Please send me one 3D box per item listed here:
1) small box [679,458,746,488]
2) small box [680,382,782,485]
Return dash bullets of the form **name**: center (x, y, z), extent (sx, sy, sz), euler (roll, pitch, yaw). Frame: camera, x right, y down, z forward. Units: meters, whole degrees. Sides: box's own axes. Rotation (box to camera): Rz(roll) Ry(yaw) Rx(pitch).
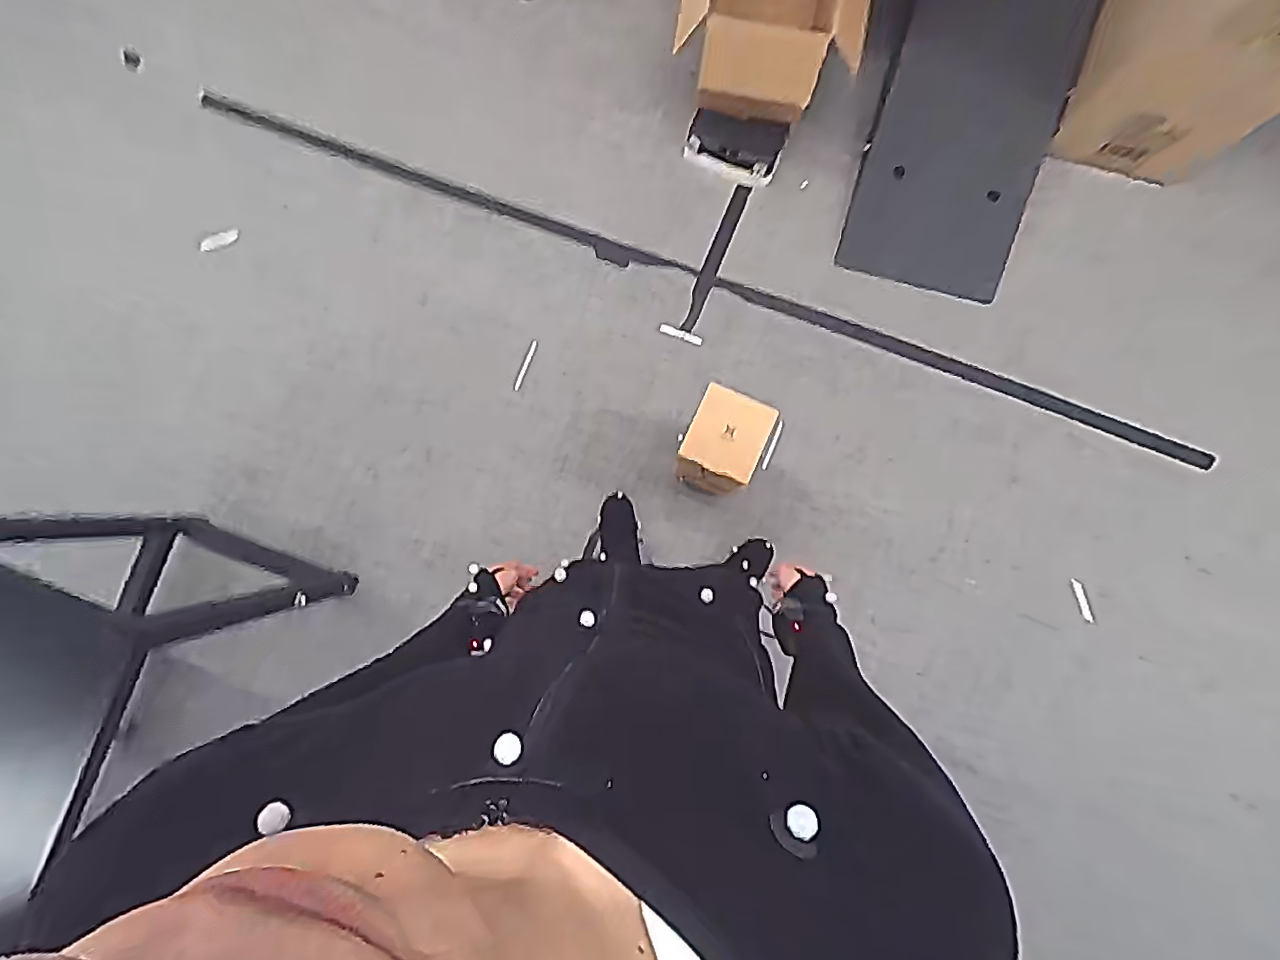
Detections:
- **small box**: center (0.208, -0.081, 1.395), extent (0.179, 0.176, 0.168), euler (22, 88, 2)
- **small box**: center (0.196, -0.098, 1.233), extent (0.168, 0.176, 0.179), euler (24, 89, 2)
